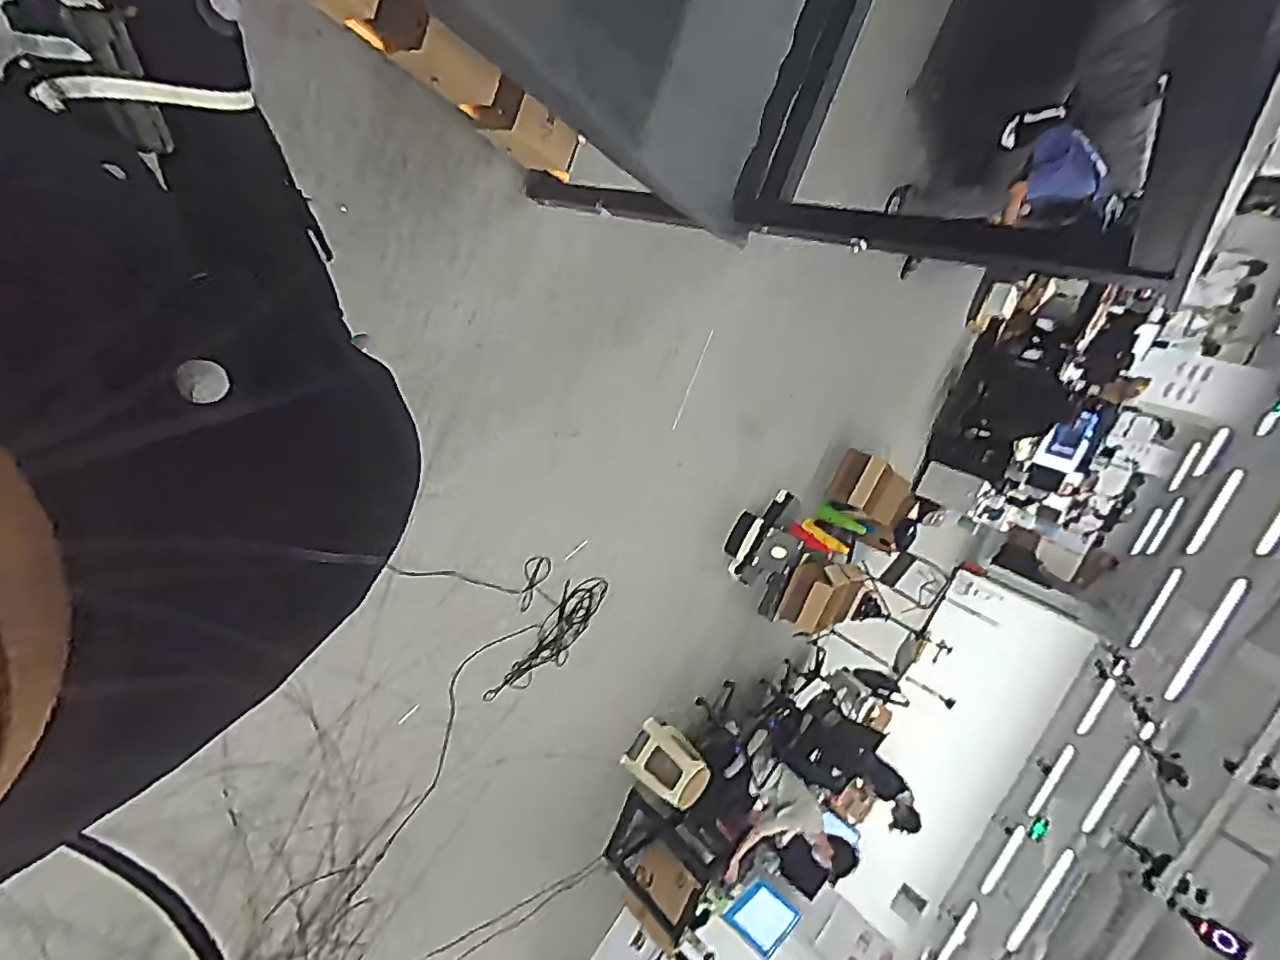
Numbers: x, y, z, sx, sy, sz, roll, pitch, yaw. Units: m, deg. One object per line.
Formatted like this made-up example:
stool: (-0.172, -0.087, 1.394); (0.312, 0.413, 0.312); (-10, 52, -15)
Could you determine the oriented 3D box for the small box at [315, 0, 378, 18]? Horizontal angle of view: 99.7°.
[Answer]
small box: (-0.538, -0.938, 0.921); (0.168, 0.176, 0.179); (11, 106, -52)
